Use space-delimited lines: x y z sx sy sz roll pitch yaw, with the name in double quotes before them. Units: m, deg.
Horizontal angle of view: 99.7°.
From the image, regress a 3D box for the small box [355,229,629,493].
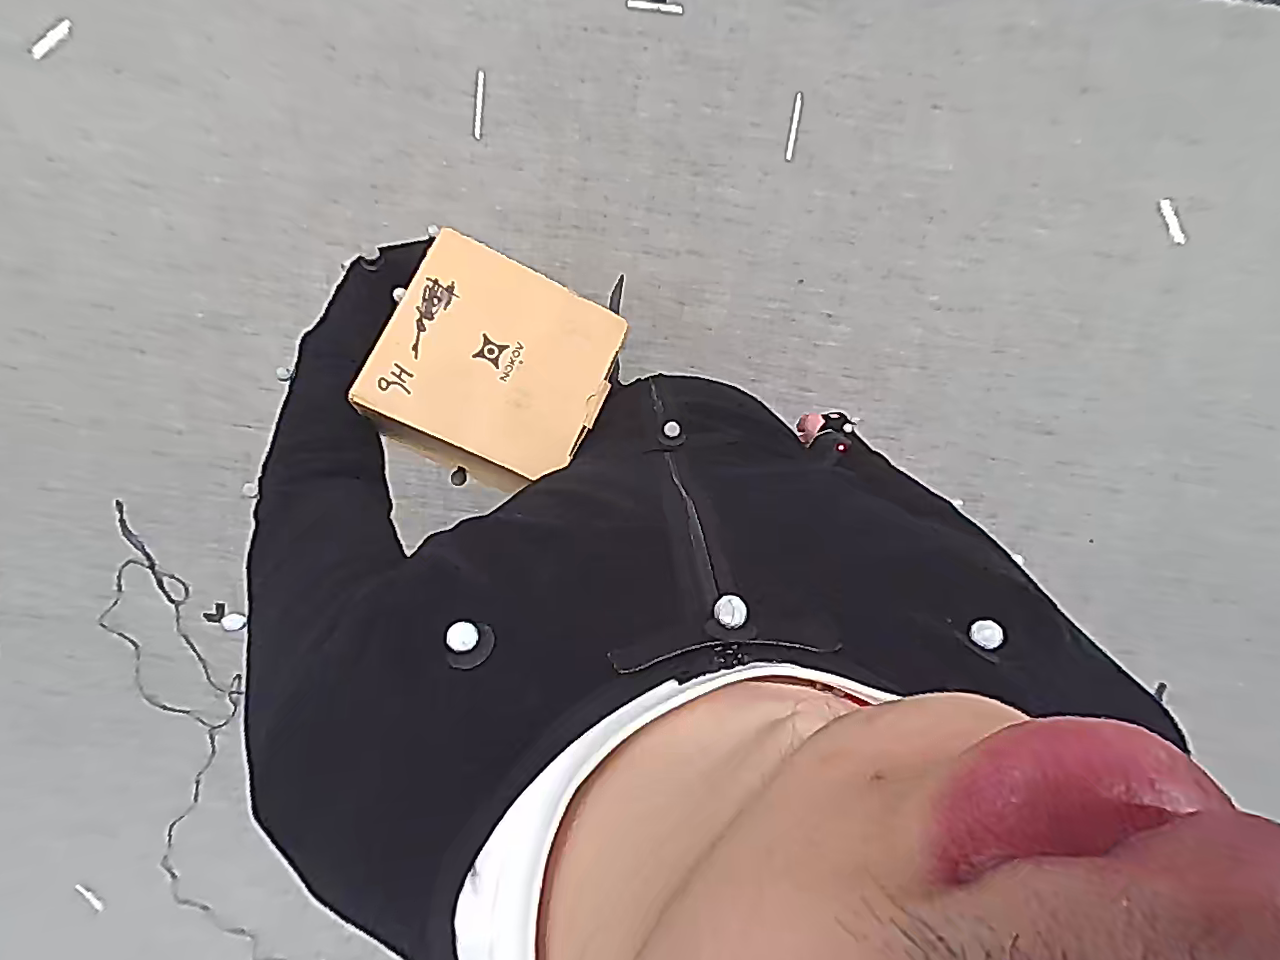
"small box" -0.137 -0.095 0.527 0.179 0.176 0.168 25 77 -12
